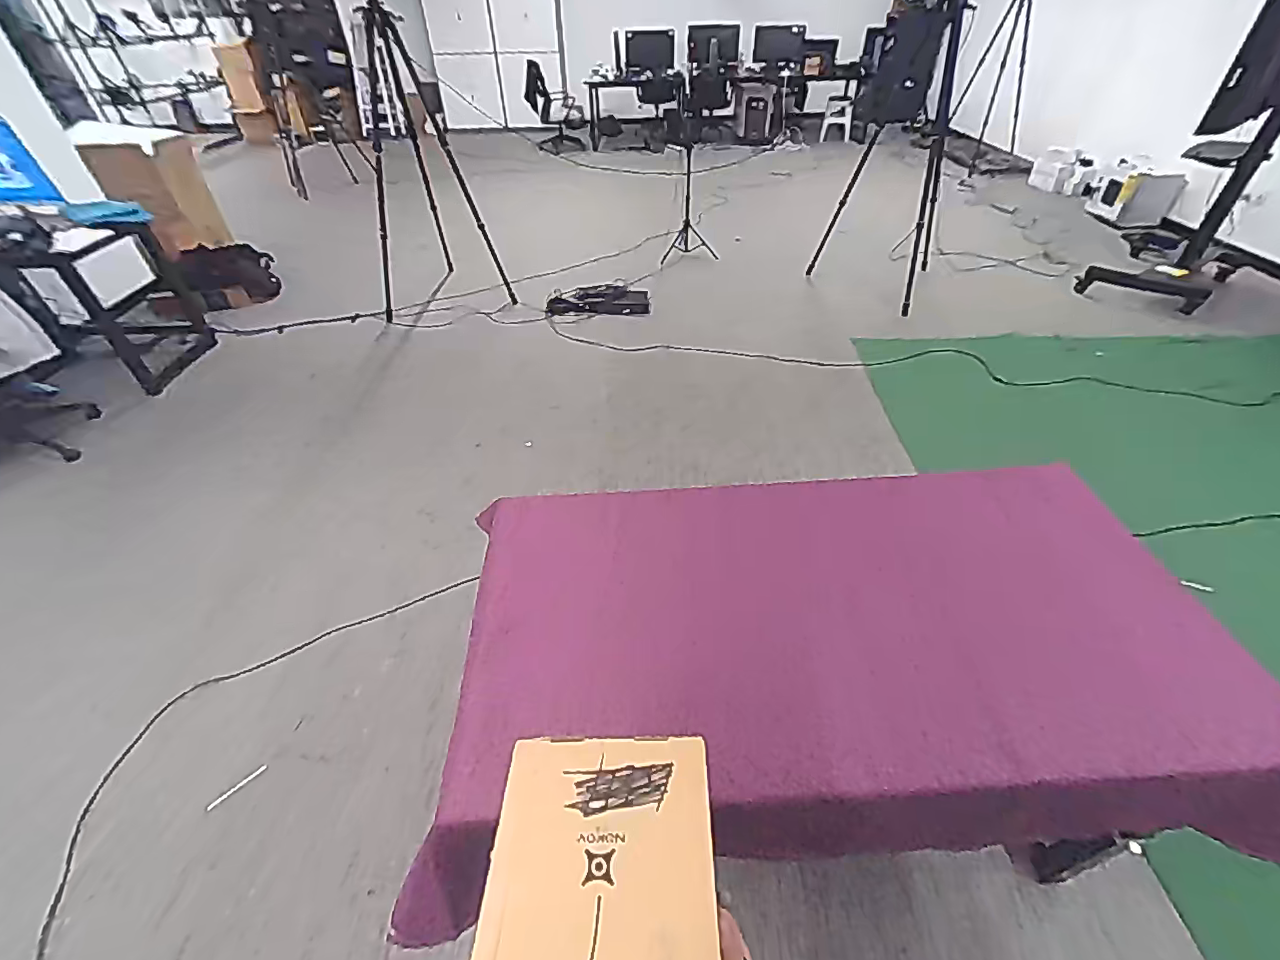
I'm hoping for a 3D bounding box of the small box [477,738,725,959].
[{"bbox_3d":[-0.020,0.342,0.449,0.168,0.176,0.179,-2,37,4],"label":"small box"}]
